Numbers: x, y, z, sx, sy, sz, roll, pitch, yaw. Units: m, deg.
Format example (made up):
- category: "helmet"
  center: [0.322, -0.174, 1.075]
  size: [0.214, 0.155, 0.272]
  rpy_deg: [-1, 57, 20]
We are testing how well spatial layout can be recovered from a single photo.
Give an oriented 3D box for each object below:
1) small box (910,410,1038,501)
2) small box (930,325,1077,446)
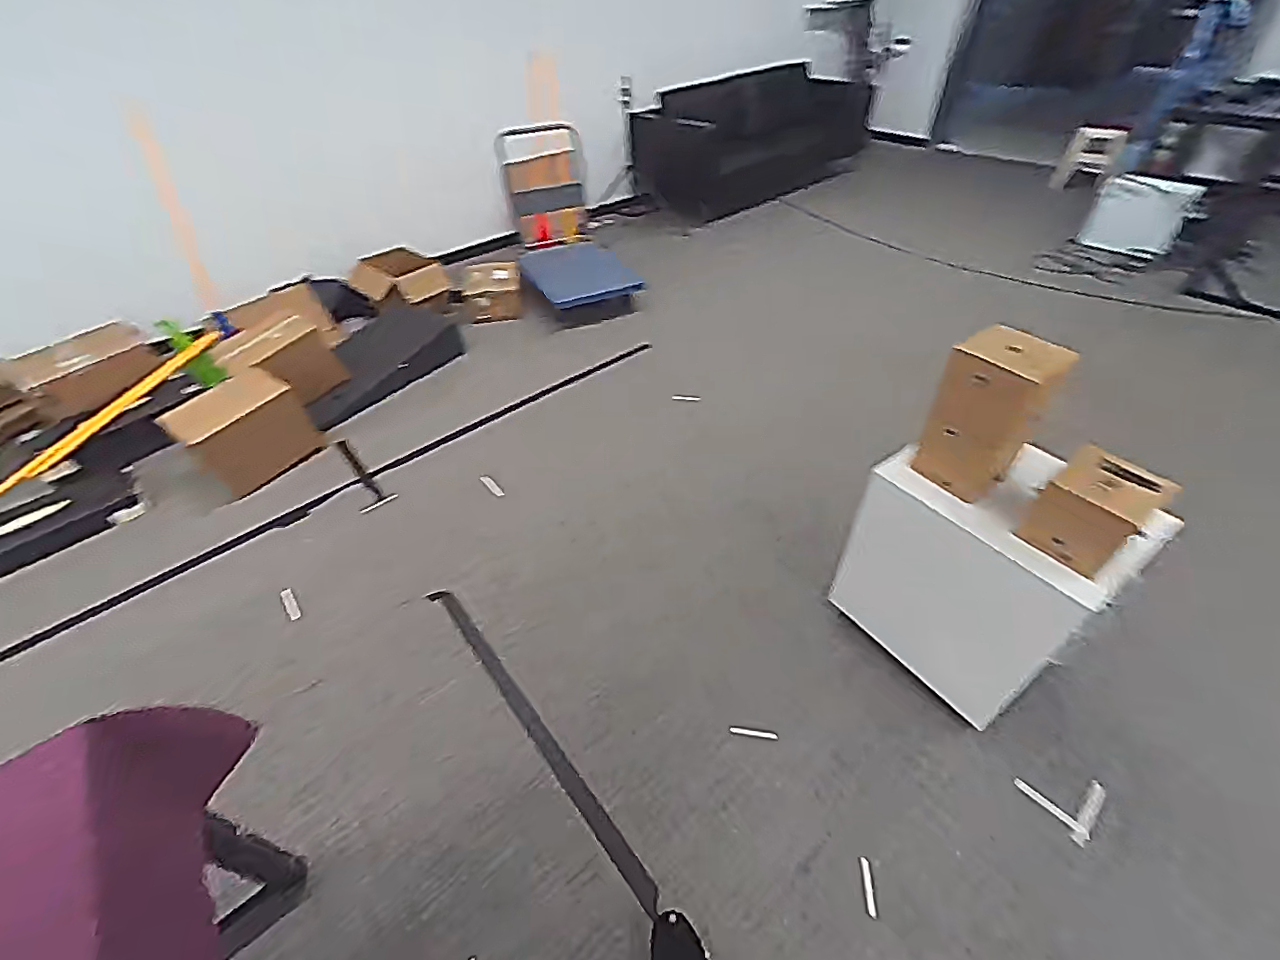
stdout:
- category: "small box"
  center: [0.770, -0.083, 1.268]
  size: [0.179, 0.176, 0.168]
  rpy_deg: [-25, 47, -23]
- category: "small box"
  center: [0.761, -0.202, 1.154]
  size: [0.168, 0.176, 0.179]
  rpy_deg: [-27, 49, -22]
